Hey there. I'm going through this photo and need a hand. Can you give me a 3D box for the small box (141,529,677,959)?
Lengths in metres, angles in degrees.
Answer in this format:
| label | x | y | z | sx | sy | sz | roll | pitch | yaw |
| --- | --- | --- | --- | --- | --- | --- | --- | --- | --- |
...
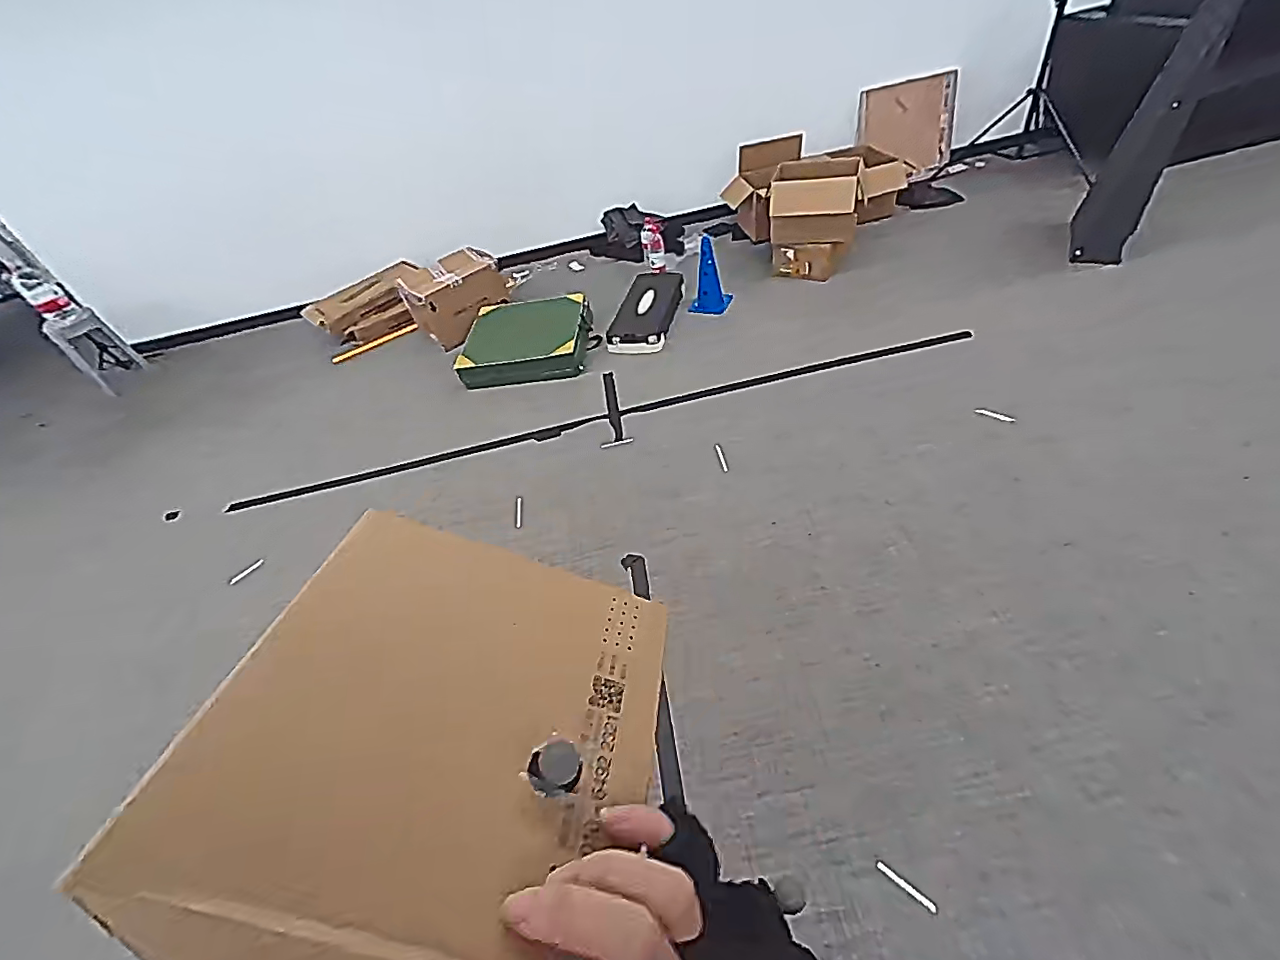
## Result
| label | x | y | z | sx | sy | sz | roll | pitch | yaw |
| --- | --- | --- | --- | --- | --- | --- | --- | --- | --- |
| small box | -0.092 | 0.162 | 0.289 | 0.176 | 0.179 | 0.168 | 19 | 38 | -4 |
